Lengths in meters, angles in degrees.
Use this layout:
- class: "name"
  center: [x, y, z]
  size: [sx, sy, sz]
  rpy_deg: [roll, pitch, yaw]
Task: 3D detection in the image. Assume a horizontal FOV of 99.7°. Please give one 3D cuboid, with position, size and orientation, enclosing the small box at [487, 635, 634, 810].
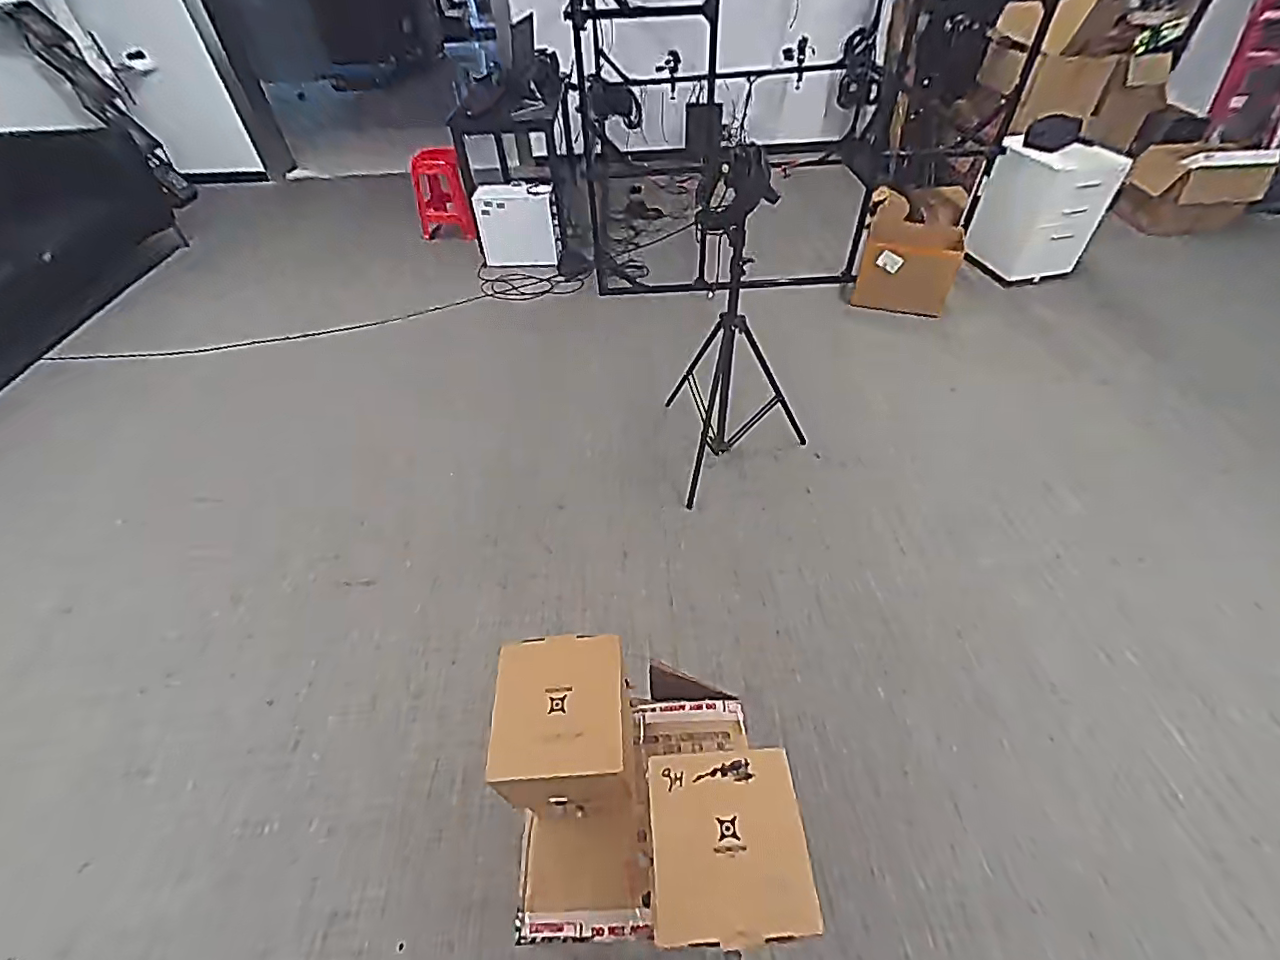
- class: "small box"
  center: [-0.098, 0.336, 0.747]
  size: [0.168, 0.176, 0.179]
  rpy_deg: [-5, 49, 1]

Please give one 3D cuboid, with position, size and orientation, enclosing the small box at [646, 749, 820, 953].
- class: "small box"
  center: [0.096, 0.439, 0.642]
  size: [0.168, 0.176, 0.179]
  rpy_deg: [-3, 49, -1]

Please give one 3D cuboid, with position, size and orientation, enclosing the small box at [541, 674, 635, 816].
- class: "small box"
  center: [-0.096, 0.429, 0.883]
  size: [0.168, 0.176, 0.179]
  rpy_deg: [-4, 49, 1]
